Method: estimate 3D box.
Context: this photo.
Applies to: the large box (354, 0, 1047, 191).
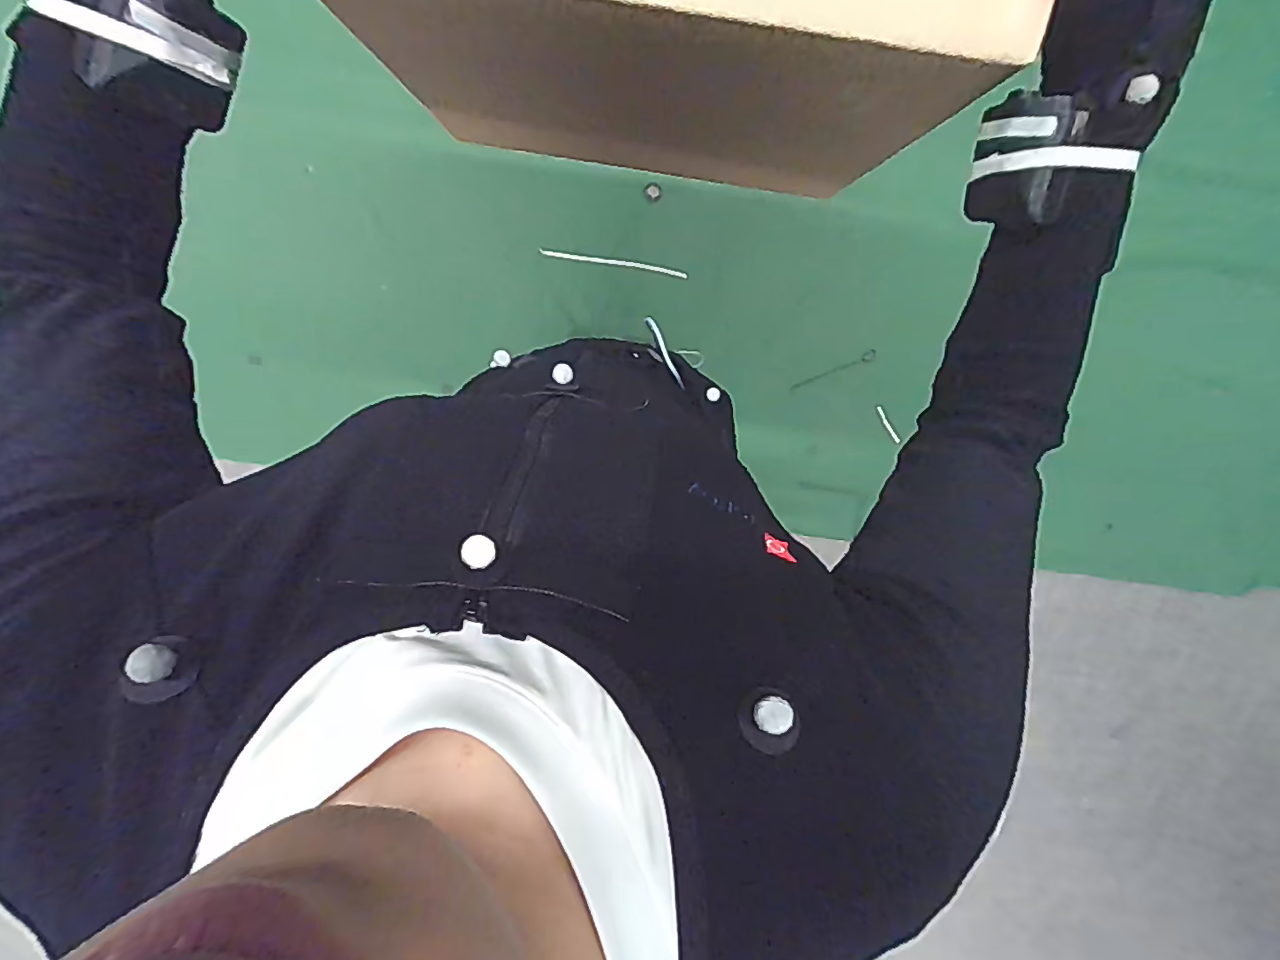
[{"bbox_3d":[0.033,-0.438,0.393,0.408,0.320,0.320,7,106,-4],"label":"large box"}]
